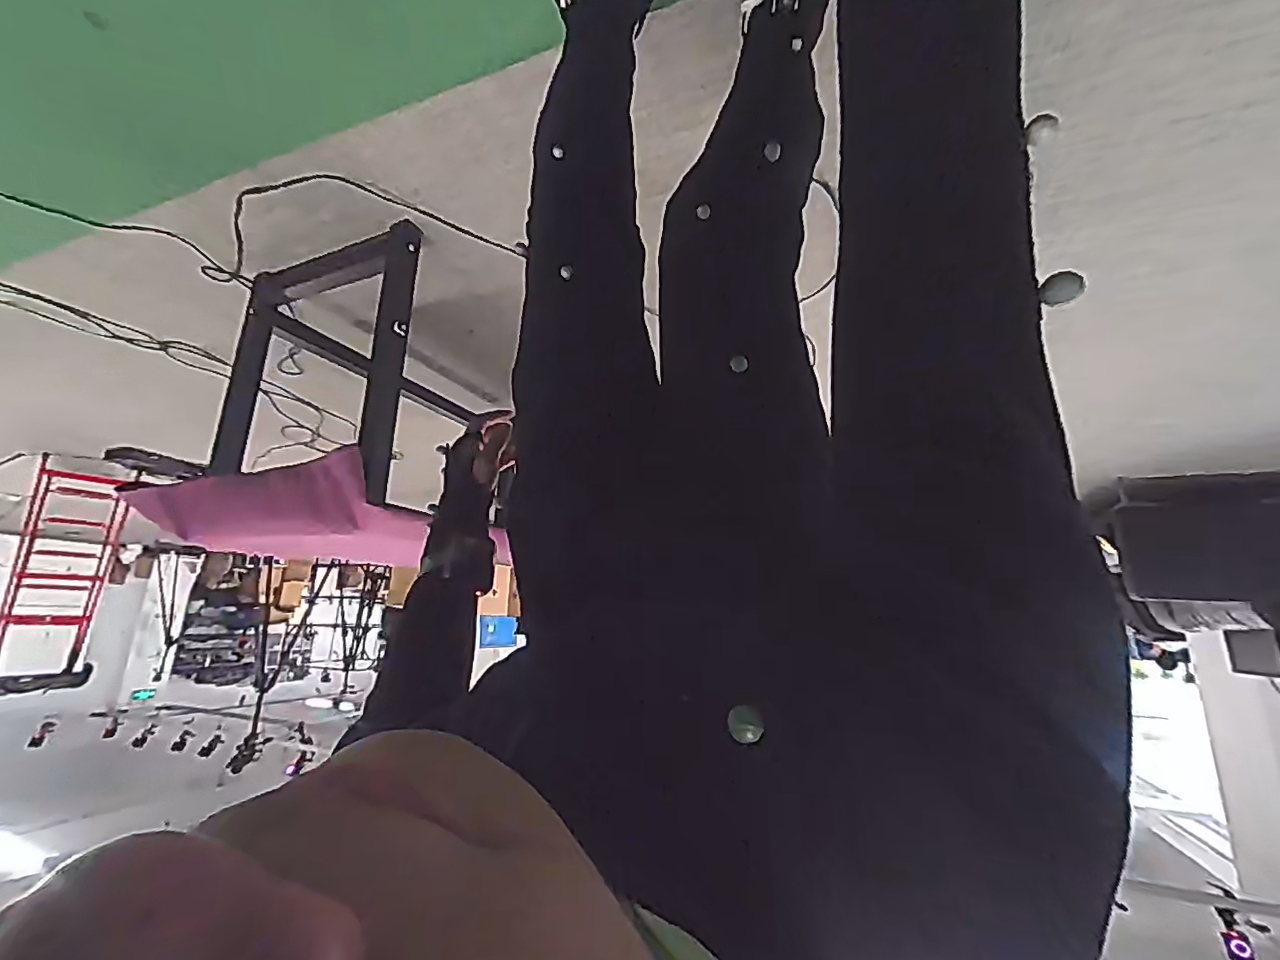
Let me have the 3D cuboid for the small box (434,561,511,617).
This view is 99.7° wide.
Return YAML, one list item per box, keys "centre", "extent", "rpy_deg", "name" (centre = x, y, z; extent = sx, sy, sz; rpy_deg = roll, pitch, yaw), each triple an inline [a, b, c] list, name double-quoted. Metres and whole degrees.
- centre: [-0.537, 0.352, 1.746]
  extent: [0.168, 0.176, 0.179]
  rpy_deg: [-5, 165, 24]
  name: "small box"
